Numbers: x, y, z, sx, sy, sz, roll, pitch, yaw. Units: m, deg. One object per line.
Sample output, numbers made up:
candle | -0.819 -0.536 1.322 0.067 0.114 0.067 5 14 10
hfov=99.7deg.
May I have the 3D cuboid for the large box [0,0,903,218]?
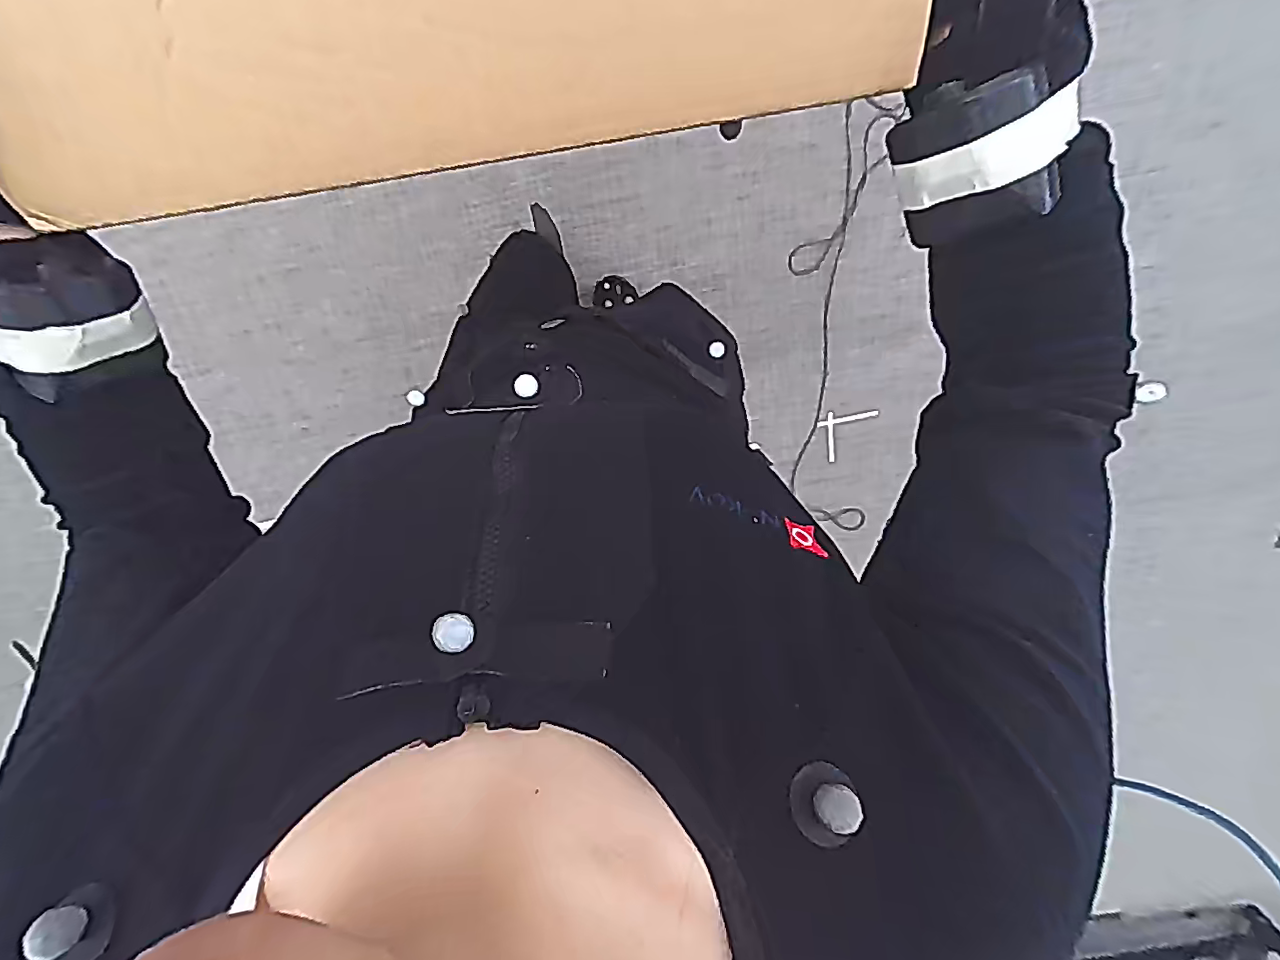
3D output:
large box | -0.111 -0.366 0.263 0.408 0.320 0.320 -9 130 1
